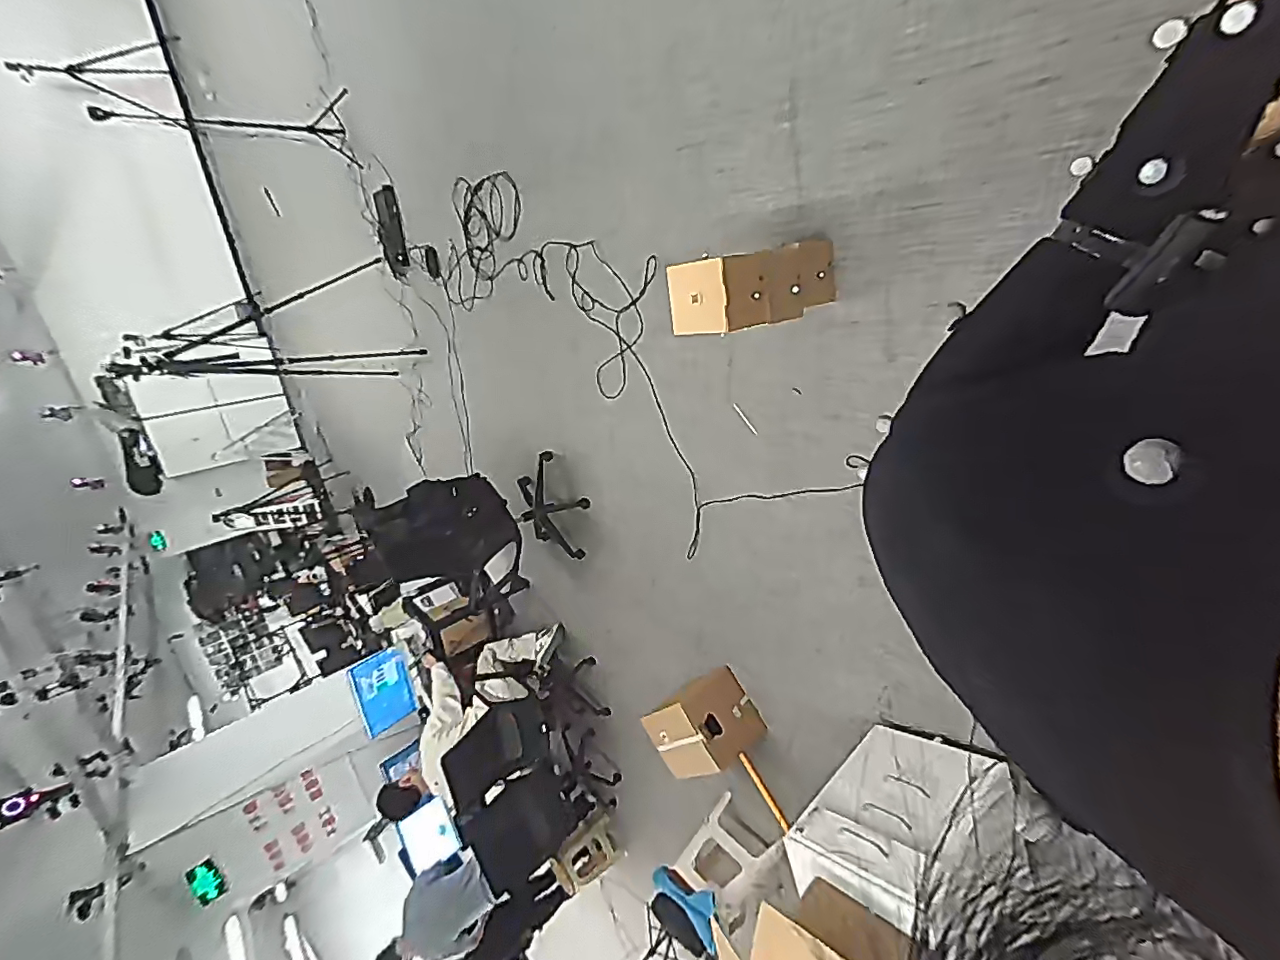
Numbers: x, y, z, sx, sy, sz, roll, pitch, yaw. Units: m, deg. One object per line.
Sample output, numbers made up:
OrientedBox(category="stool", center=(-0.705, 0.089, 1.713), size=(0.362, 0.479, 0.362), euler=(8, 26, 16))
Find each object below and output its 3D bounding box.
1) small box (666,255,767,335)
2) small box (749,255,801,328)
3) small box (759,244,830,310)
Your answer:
OrientedBox(category="small box", center=(0.190, -0.453, 1.333), size=(0.179, 0.176, 0.168), euler=(12, 117, 46))
OrientedBox(category="small box", center=(0.308, -0.498, 1.437), size=(0.179, 0.176, 0.168), euler=(13, 118, 46))
OrientedBox(category="small box", center=(0.423, -0.566, 1.532), size=(0.179, 0.176, 0.168), euler=(9, 114, 49))
